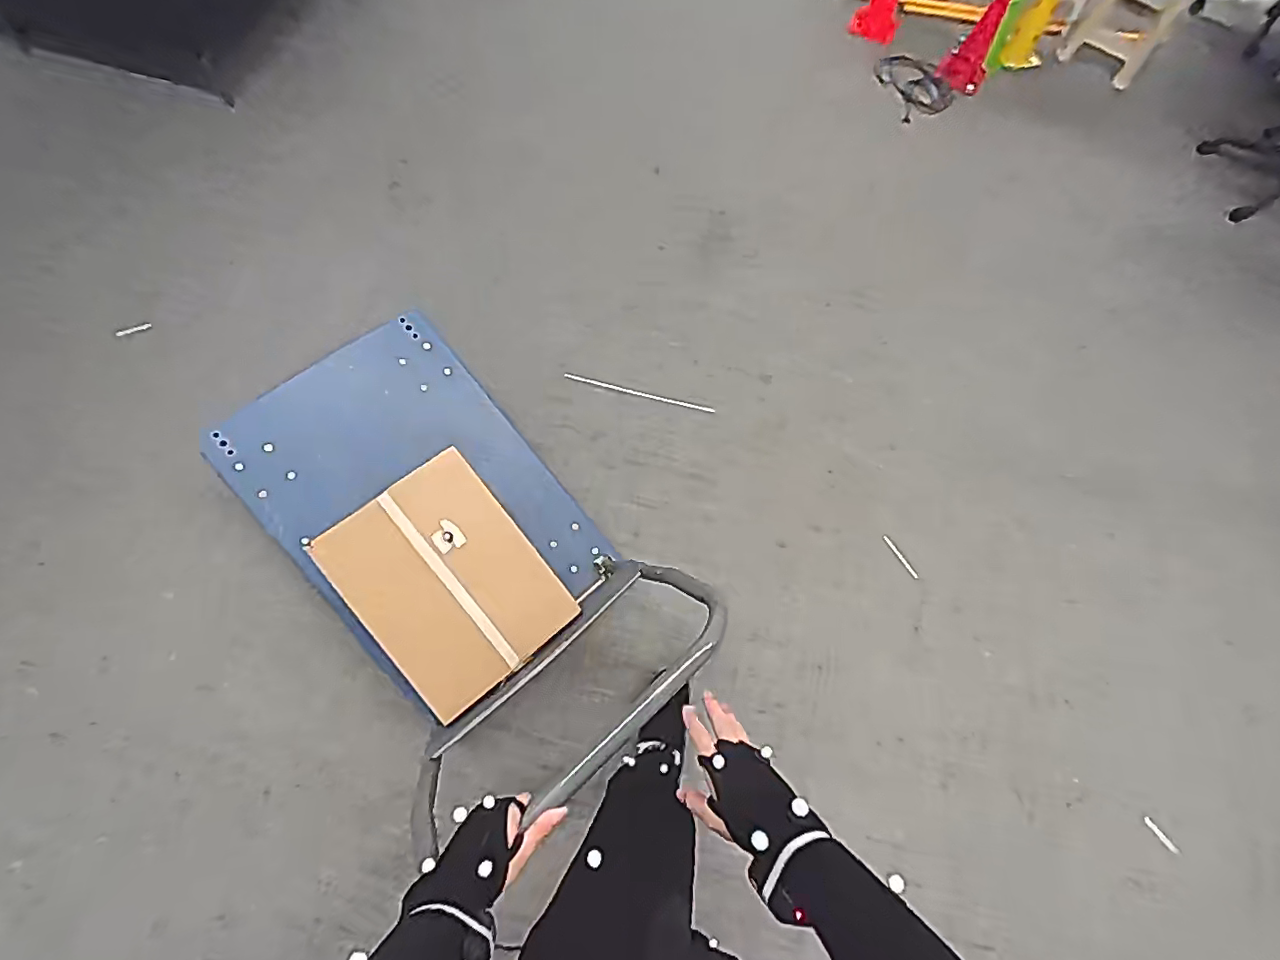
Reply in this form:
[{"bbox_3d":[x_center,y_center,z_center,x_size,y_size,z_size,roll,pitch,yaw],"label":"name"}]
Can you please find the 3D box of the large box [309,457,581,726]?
[{"bbox_3d":[-0.380,0.221,1.137,0.320,0.320,0.408,-39,91,-18],"label":"large box"}]
